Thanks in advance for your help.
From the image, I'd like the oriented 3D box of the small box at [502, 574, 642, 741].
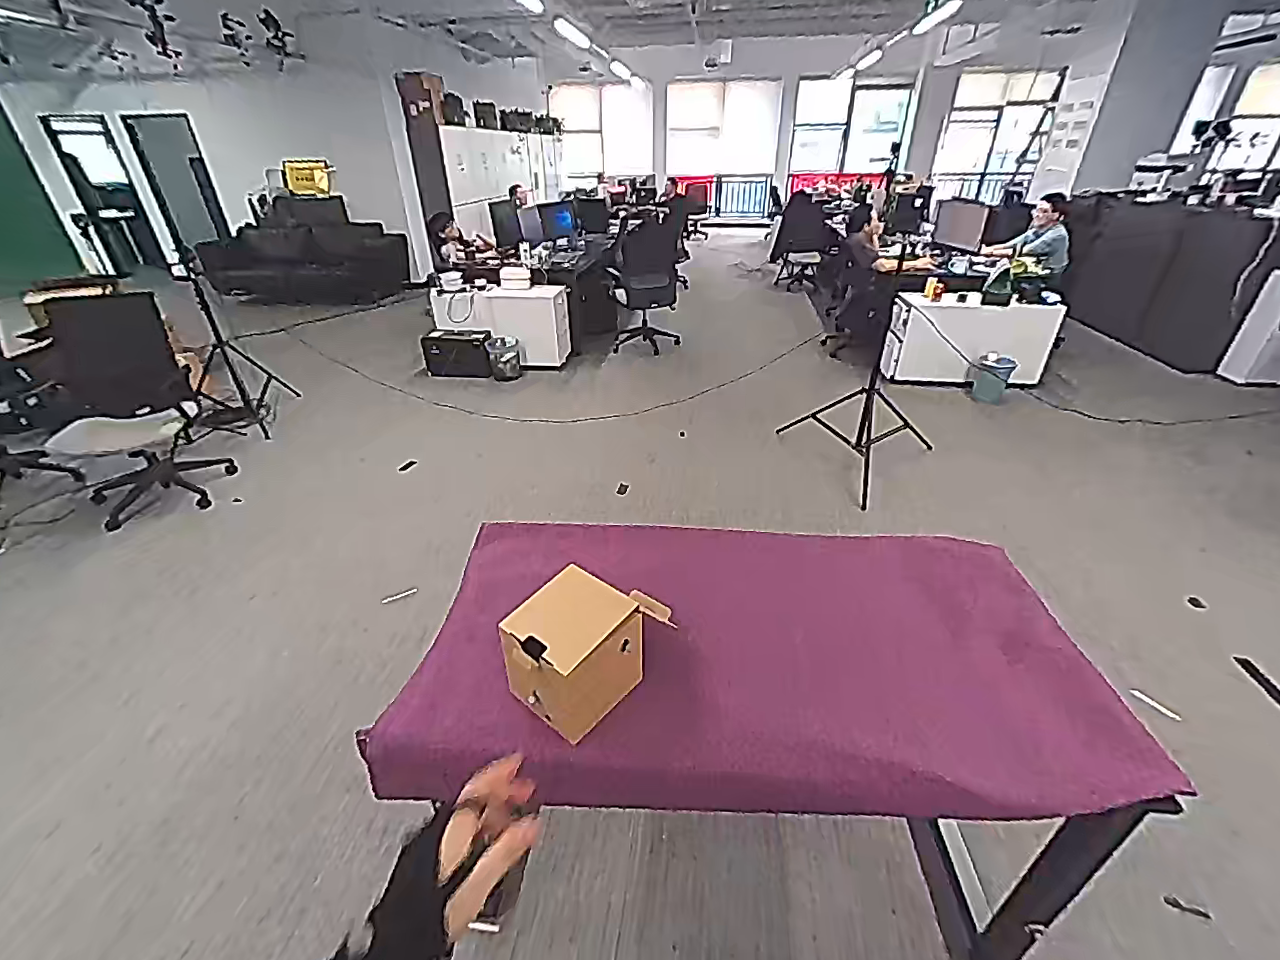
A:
[{"bbox_3d":[-0.113,0.300,0.935,0.168,0.176,0.179,22,37,35],"label":"small box"}]
